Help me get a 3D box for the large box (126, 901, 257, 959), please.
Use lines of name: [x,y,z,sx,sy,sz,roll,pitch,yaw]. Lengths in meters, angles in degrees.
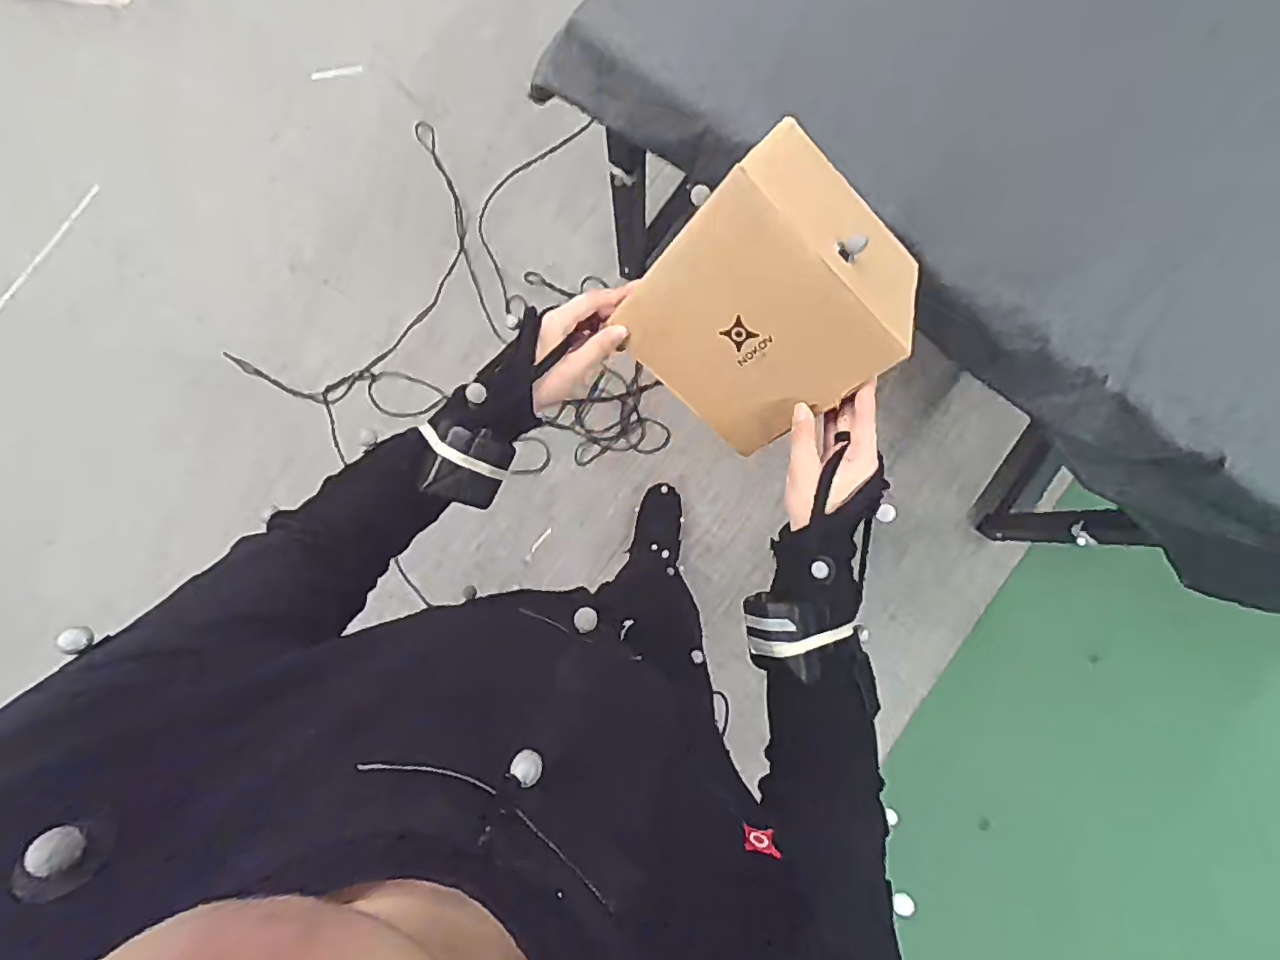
large box: [-1.016,1.238,1.134,0.408,0.320,0.320,43,86,5]
